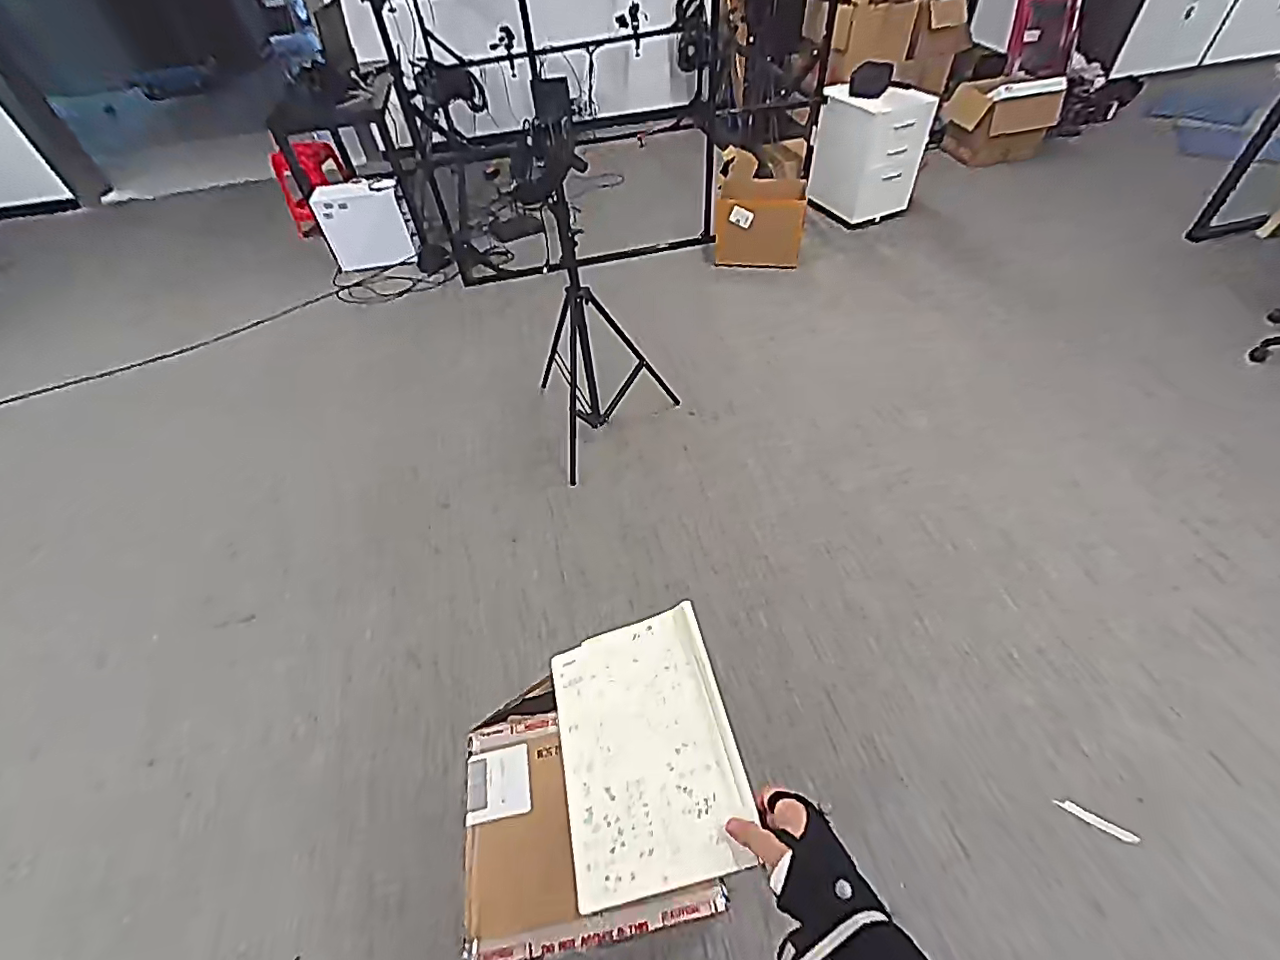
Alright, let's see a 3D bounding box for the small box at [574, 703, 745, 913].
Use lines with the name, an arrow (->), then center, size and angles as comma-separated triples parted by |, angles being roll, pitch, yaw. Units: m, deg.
small box -> 0.015, 0.405, 0.668 | 0.168, 0.176, 0.179 | -10, 50, -7
